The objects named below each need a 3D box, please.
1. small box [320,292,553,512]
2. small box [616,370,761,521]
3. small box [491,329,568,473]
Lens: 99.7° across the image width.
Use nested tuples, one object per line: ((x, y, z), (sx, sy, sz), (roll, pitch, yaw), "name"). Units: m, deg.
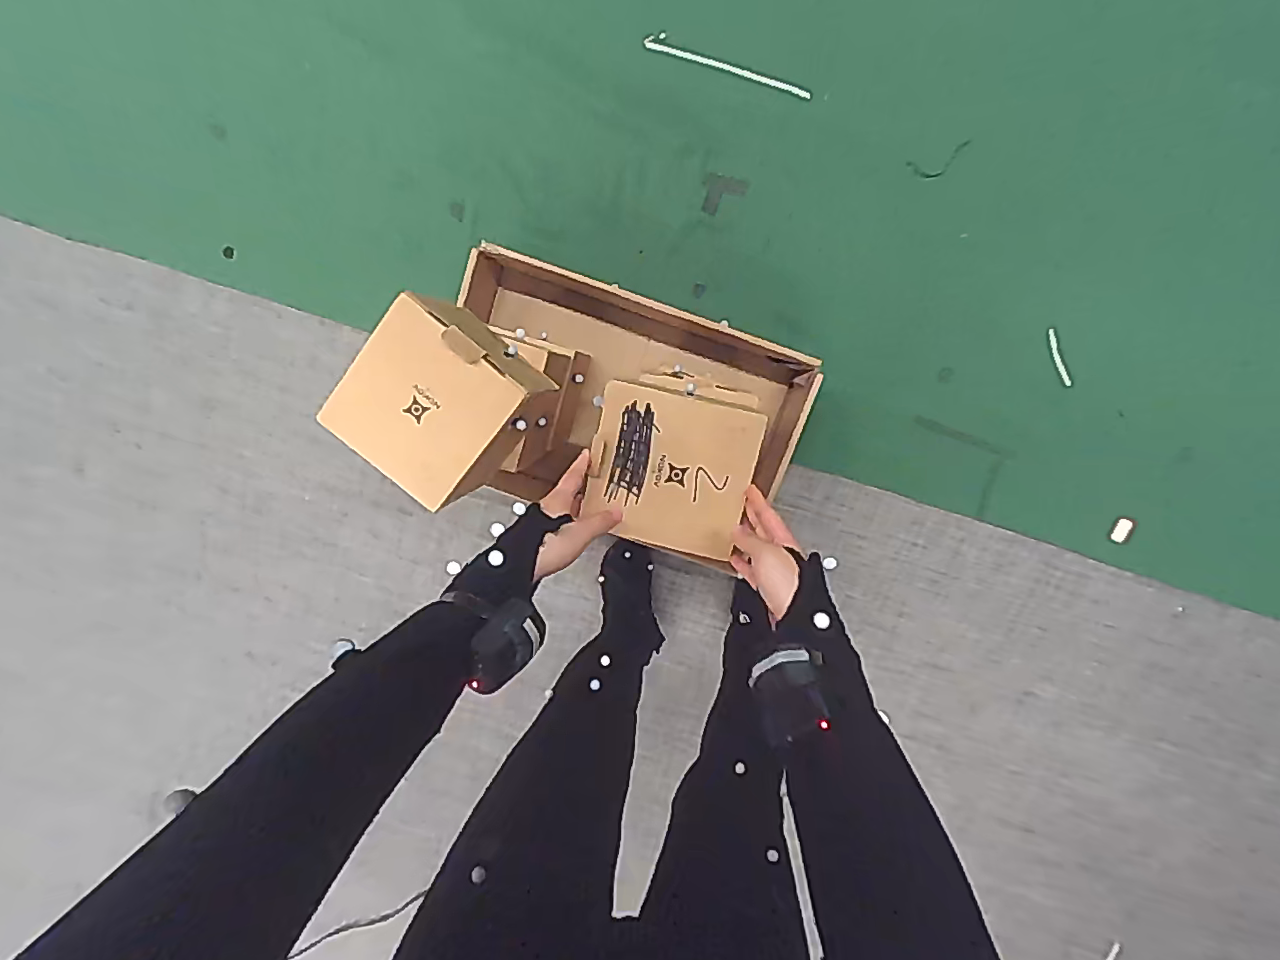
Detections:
((-0.226, -0.092, 0.653), (0.168, 0.176, 0.179), (40, 99, -4), "small box")
((0.070, -0.061, 0.809), (0.168, 0.176, 0.179), (14, 103, 3), "small box")
((-0.217, -0.129, 0.812), (0.168, 0.176, 0.179), (18, 100, -1), "small box")
